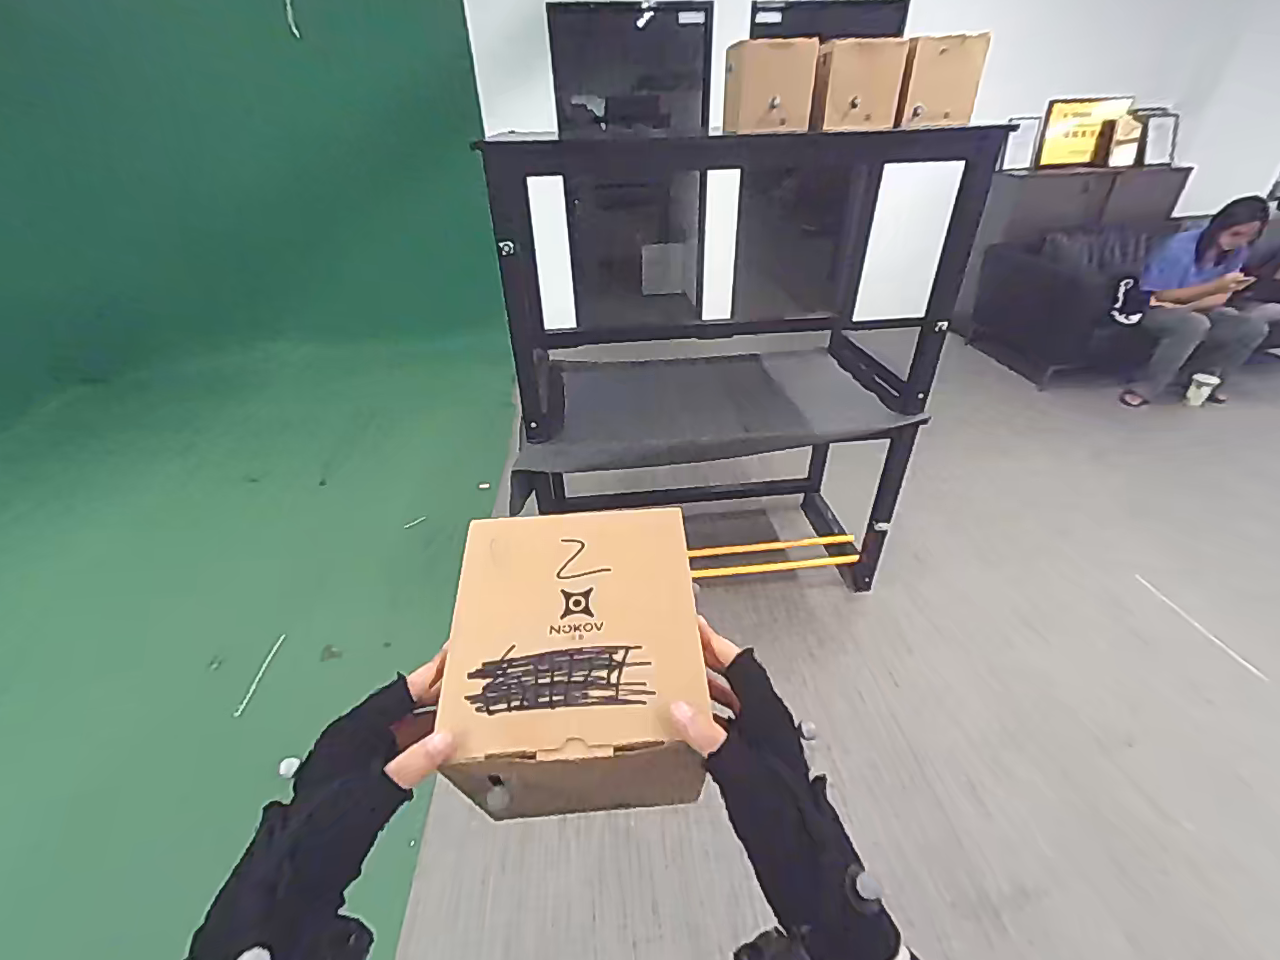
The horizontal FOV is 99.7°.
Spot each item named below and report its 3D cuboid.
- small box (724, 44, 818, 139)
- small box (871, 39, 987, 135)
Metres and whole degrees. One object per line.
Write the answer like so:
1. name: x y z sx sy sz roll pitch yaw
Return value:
1. small box: 0.295 -0.901 1.264 0.168 0.176 0.179 -3 34 -3
2. small box: 0.676 -0.928 1.286 0.168 0.176 0.179 -3 33 -2
